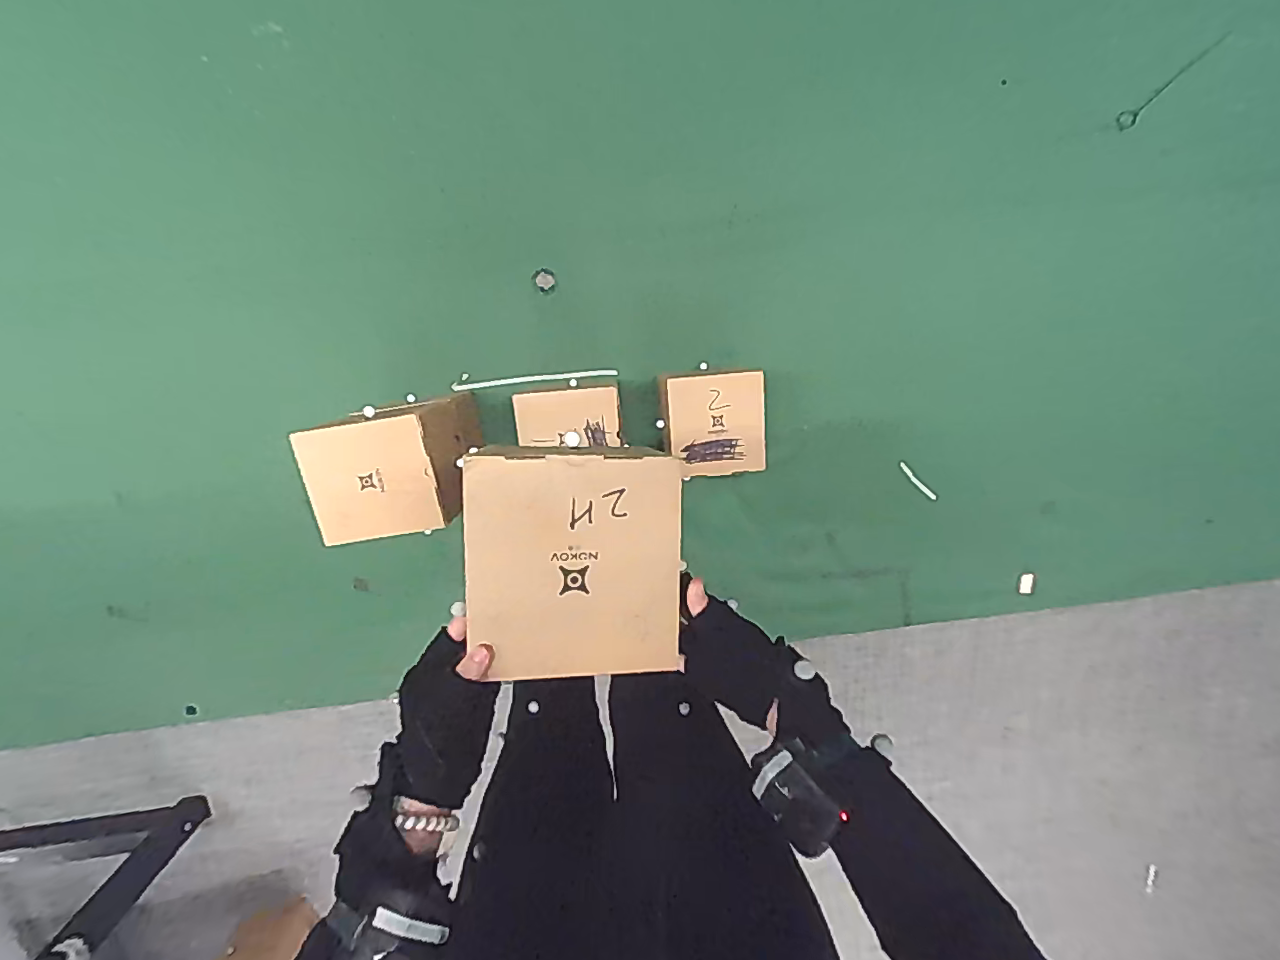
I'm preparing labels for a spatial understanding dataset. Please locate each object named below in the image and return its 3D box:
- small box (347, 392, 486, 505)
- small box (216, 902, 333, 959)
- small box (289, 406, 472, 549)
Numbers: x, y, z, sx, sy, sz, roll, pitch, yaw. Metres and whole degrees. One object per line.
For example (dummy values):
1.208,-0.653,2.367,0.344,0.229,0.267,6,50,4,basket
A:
-0.387,-0.053,0.972,0.168,0.176,0.179,-8,106,-1,small box
-0.864,1.137,1.256,0.179,0.176,0.168,-18,106,2,small box
-0.374,-0.012,0.815,0.179,0.176,0.168,-9,105,-1,small box
